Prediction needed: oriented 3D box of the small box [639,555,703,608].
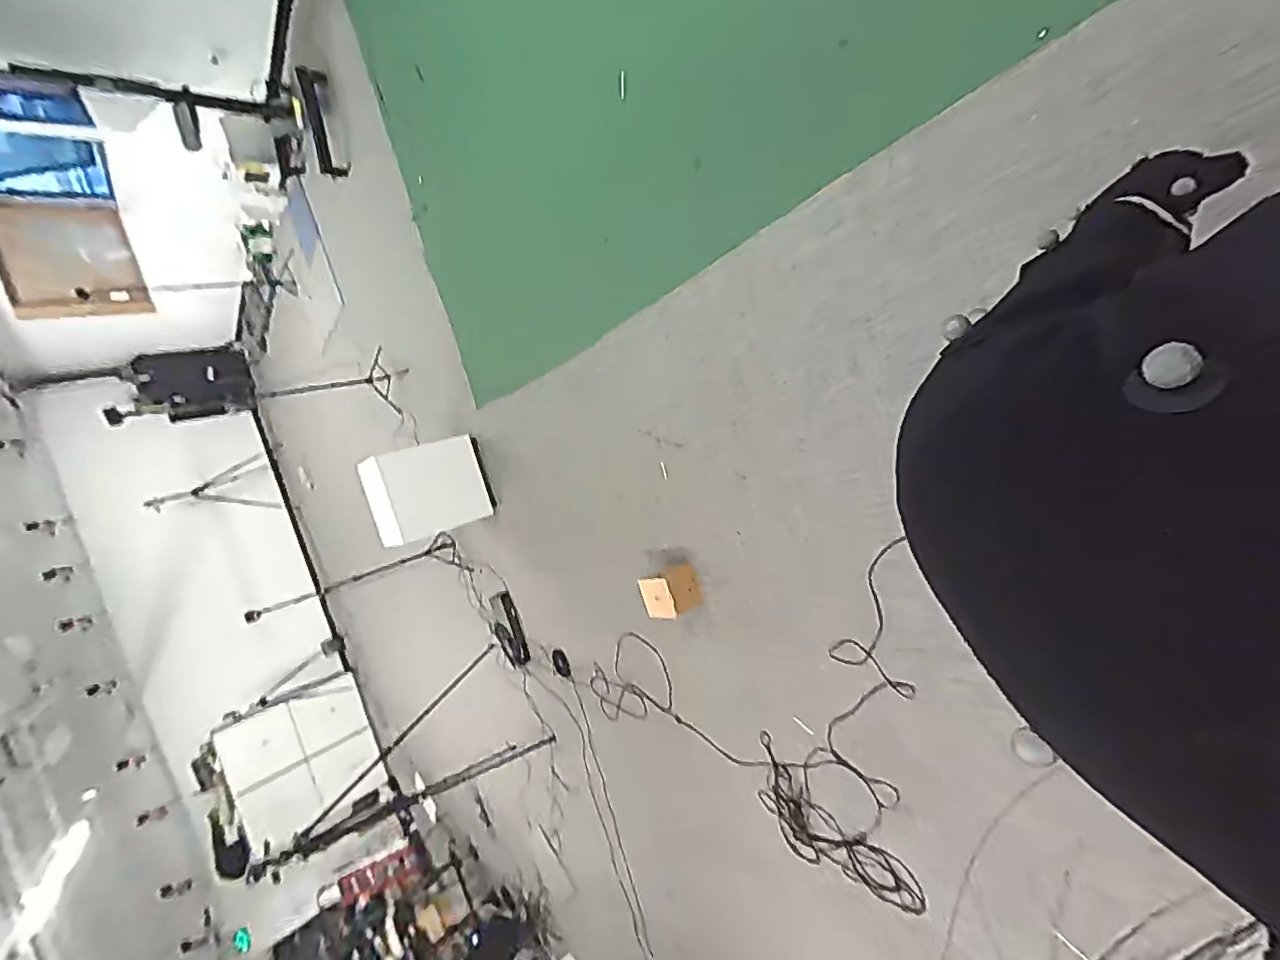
[{"bbox_3d":[0.128,0.416,2.226,0.179,0.176,0.168,-15,94,50],"label":"small box"}]
